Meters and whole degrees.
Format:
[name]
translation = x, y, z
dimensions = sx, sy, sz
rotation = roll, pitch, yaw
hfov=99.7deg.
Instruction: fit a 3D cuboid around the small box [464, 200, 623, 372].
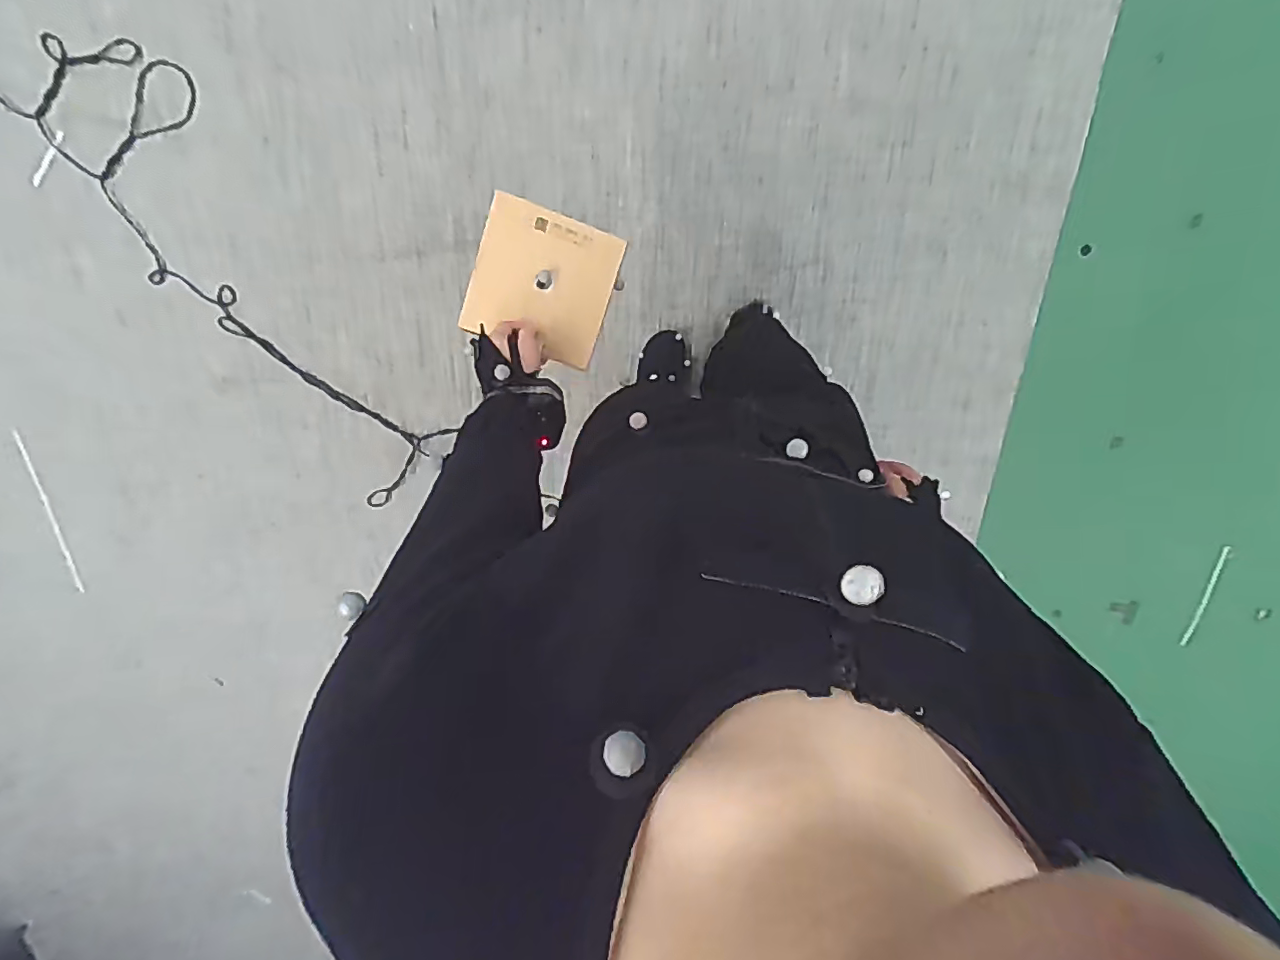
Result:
[small box]
translation = -0.128, -0.254, 0.739
dimensions = 0.168, 0.179, 0.176
rotation = 16, 98, -11
